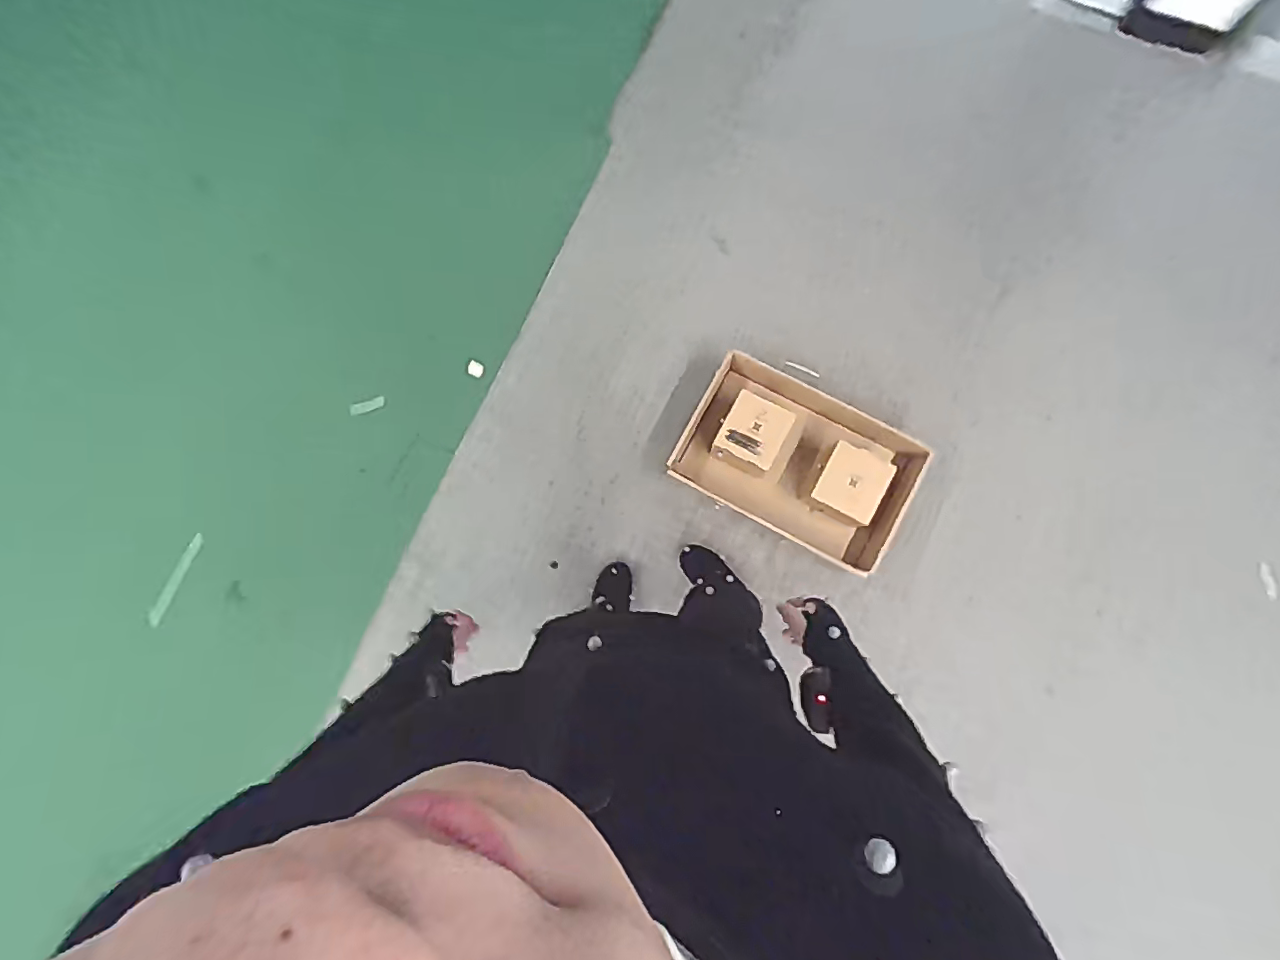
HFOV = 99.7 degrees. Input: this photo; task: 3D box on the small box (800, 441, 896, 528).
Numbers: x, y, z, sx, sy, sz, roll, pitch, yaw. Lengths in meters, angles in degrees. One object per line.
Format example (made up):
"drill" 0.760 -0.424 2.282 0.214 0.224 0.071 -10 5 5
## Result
"small box" 0.561 0.017 1.486 0.168 0.176 0.179 29 86 7
